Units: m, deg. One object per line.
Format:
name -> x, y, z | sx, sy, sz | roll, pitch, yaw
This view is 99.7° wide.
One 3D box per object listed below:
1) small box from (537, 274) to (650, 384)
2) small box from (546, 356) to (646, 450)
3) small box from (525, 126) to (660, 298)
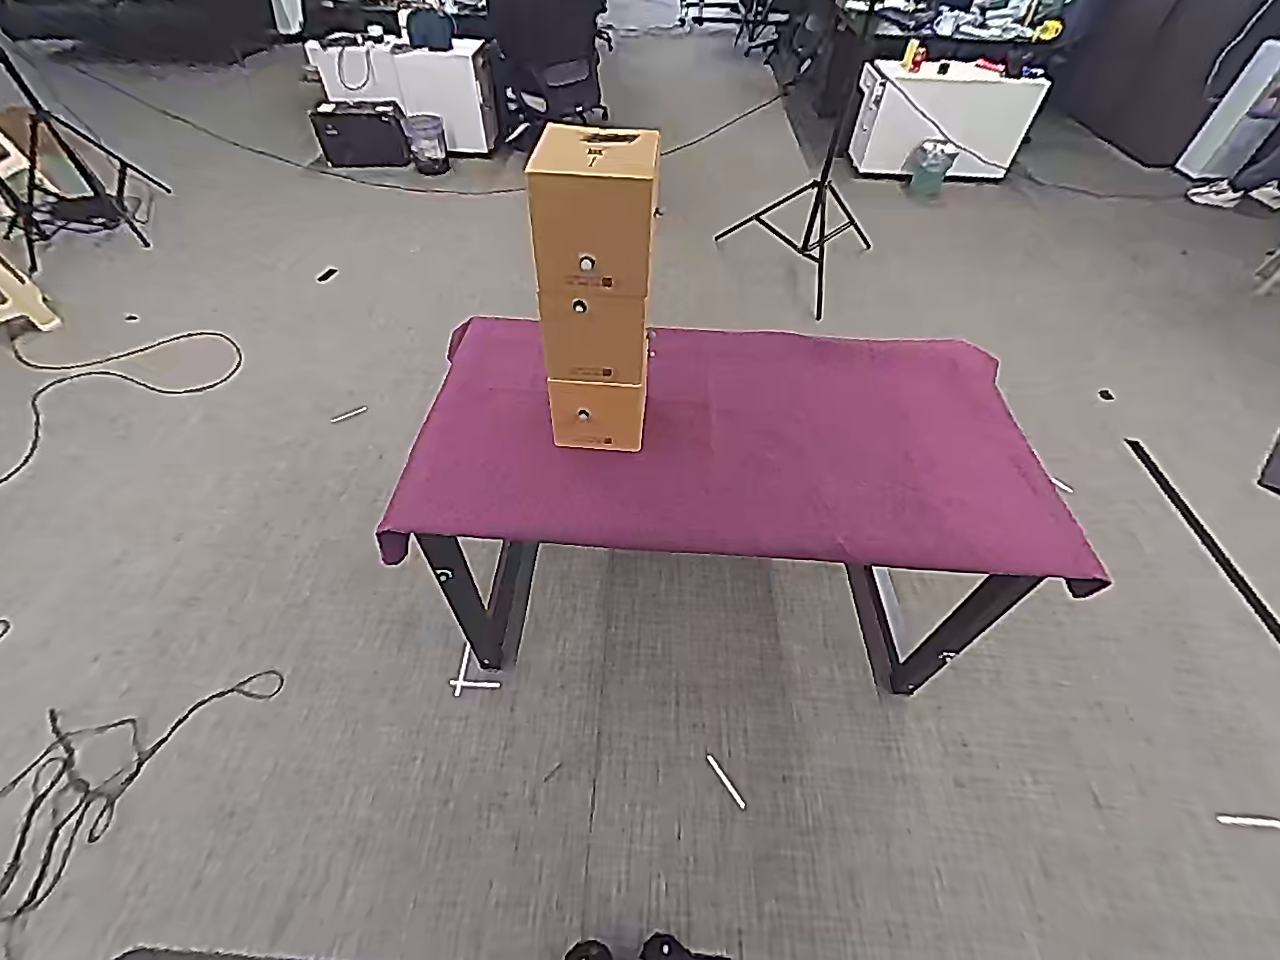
small box -> -0.071, -0.286, 0.921 | 0.168, 0.176, 0.179 | 3, 48, 1
small box -> -0.076, -0.175, 1.041 | 0.168, 0.176, 0.179 | 4, 49, 1
small box -> -0.063, -0.392, 0.795 | 0.168, 0.176, 0.179 | 4, 50, 1
